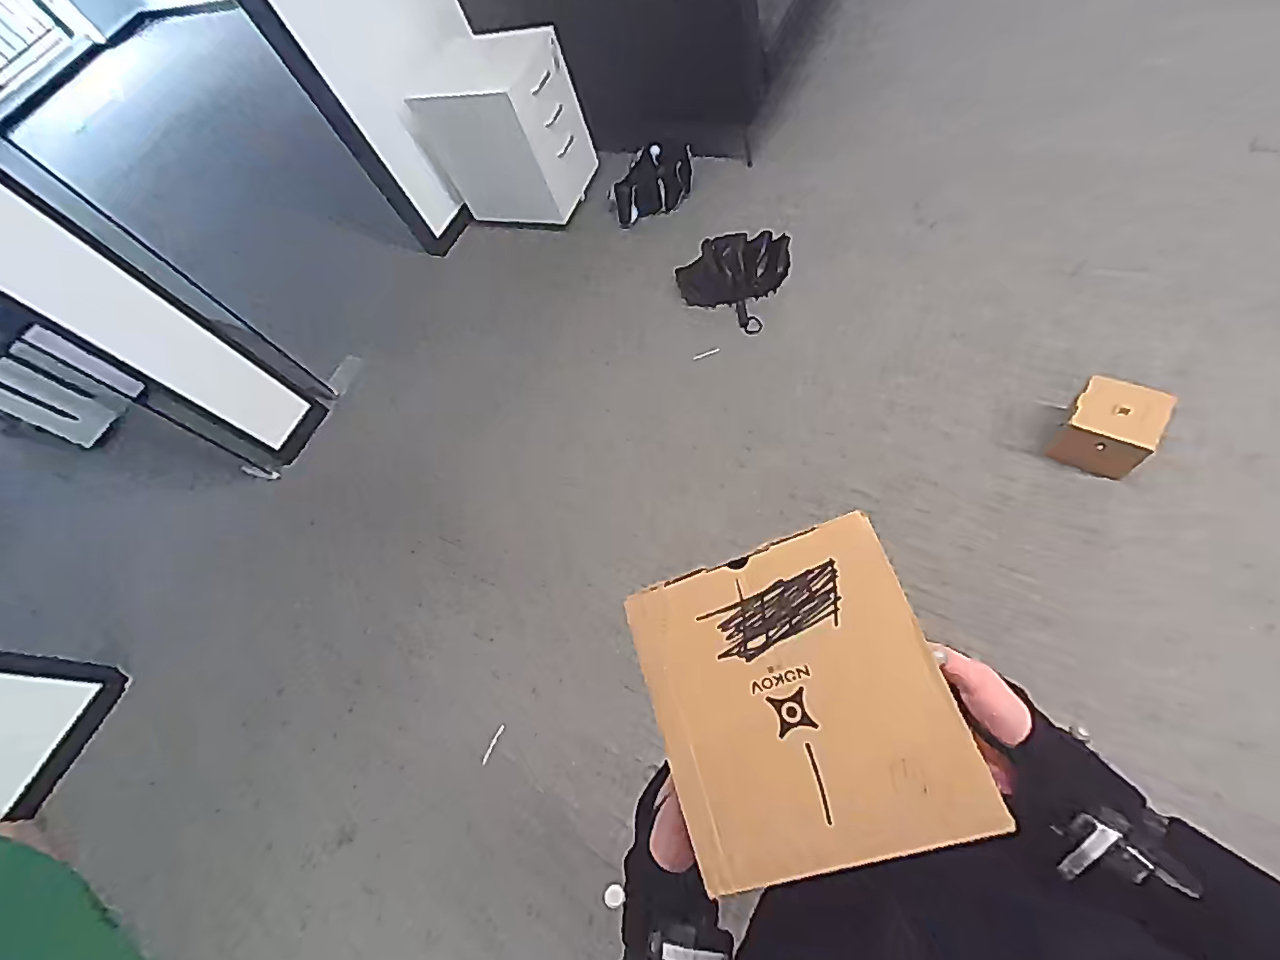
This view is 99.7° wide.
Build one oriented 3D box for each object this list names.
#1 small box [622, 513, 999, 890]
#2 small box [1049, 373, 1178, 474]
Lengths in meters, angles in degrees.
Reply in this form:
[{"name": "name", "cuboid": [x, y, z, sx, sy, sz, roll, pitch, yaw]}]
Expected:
[{"name": "small box", "cuboid": [0.110, 0.145, 0.387, 0.168, 0.176, 0.179, -23, 68, 14]}, {"name": "small box", "cuboid": [1.190, -0.138, 1.375, 0.179, 0.176, 0.168, 27, 76, 26]}]
